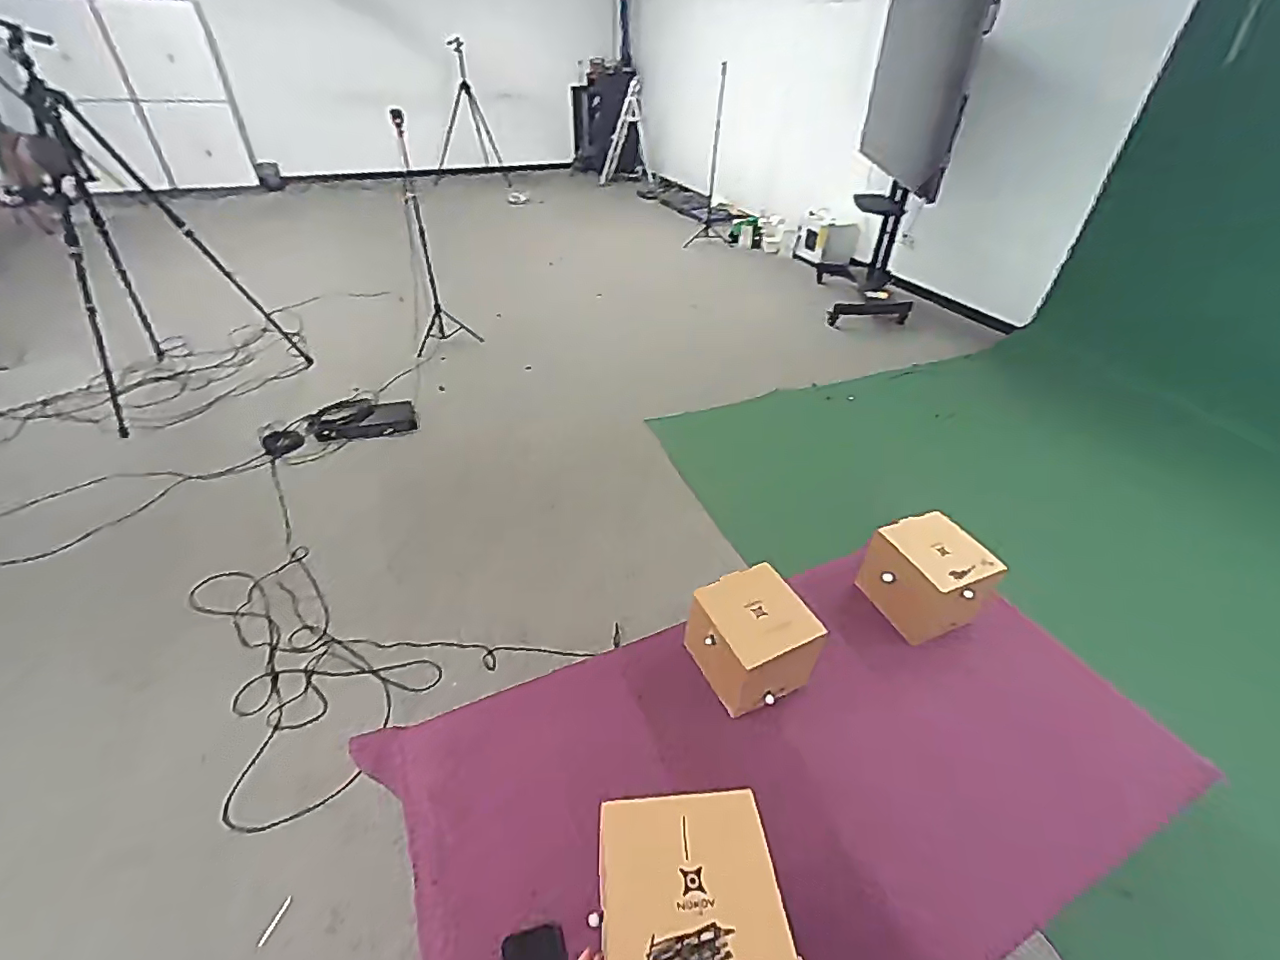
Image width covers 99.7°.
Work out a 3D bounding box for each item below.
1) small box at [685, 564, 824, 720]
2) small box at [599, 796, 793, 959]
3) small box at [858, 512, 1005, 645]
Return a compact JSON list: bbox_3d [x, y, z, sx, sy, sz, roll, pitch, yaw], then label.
[{"bbox_3d":[0.193,0.287,0.968,0.168,0.176,0.179,-16,43,-20],"label":"small box"},{"bbox_3d":[0.044,0.449,0.538,0.168,0.176,0.179,-1,34,-6],"label":"small box"},{"bbox_3d":[0.574,0.197,1.094,0.168,0.176,0.179,-14,41,-18],"label":"small box"}]
